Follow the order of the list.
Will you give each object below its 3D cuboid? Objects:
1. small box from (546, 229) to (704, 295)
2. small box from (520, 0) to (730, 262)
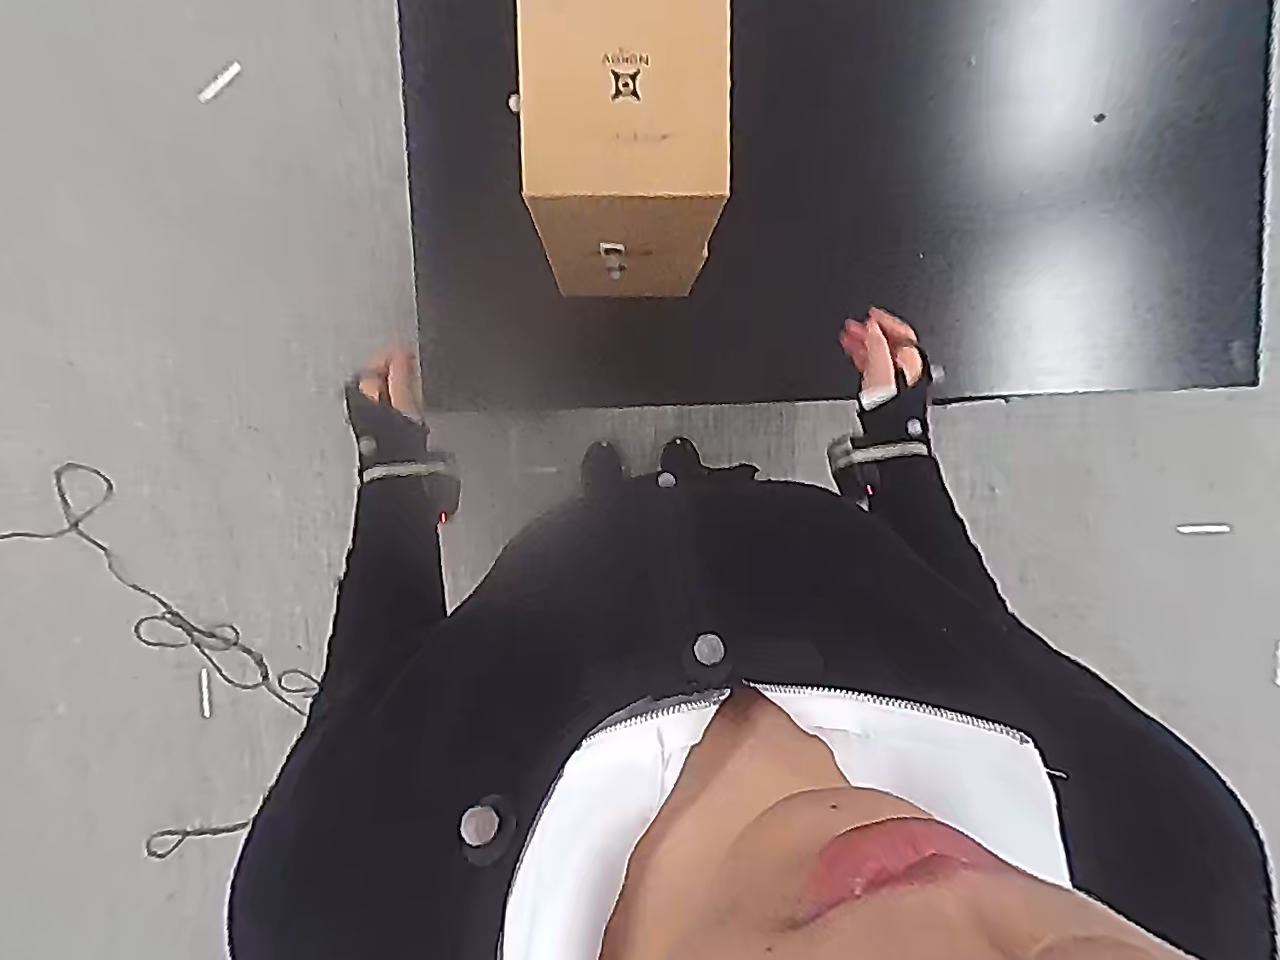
[{"bbox_3d":[-0.019,-0.332,0.664,0.179,0.176,0.168,0,94,-3],"label":"small box"},{"bbox_3d":[-0.014,-0.319,0.503,0.168,0.176,0.179,-2,95,-1],"label":"small box"}]
